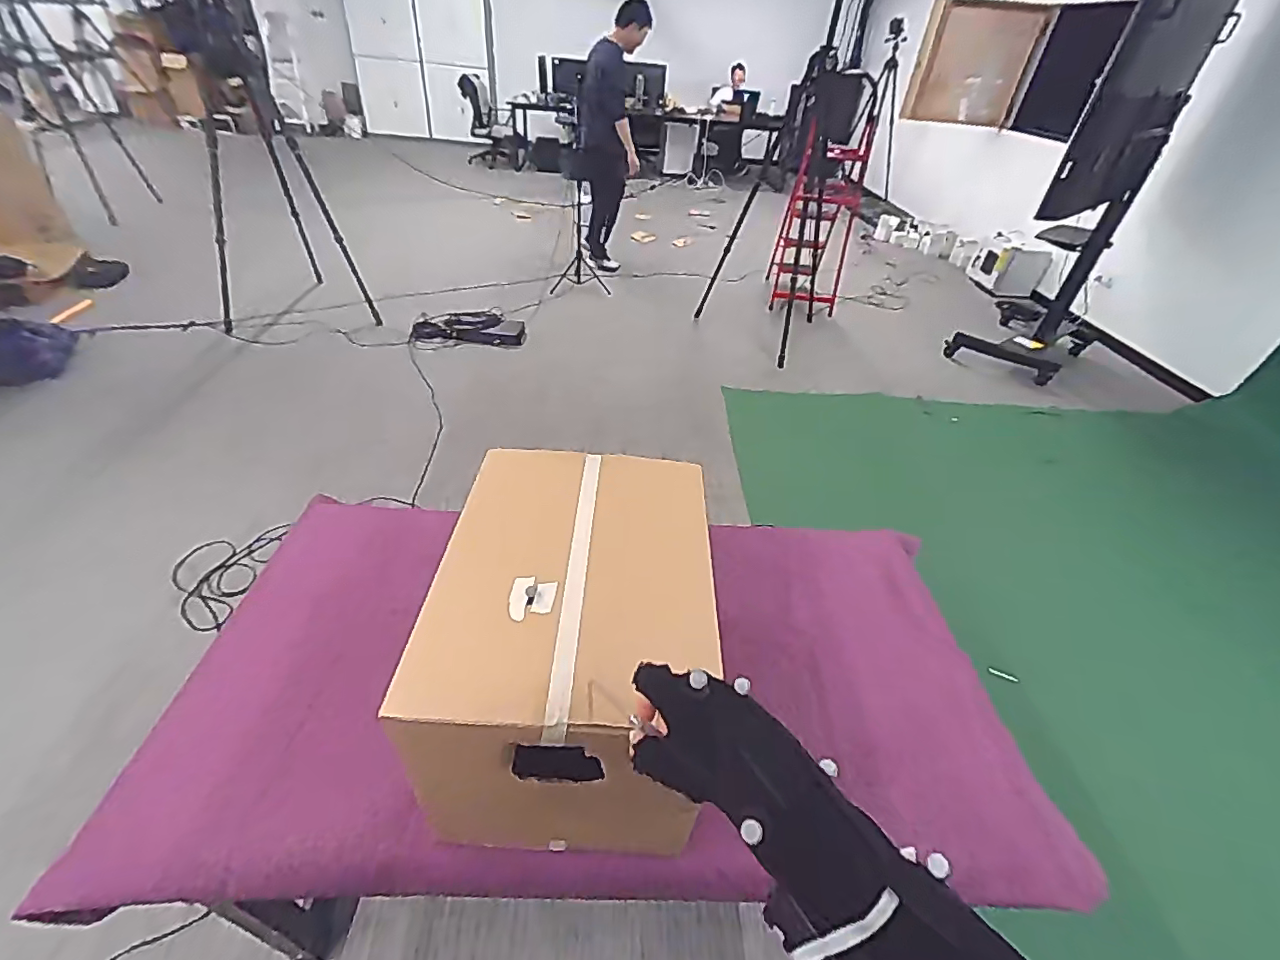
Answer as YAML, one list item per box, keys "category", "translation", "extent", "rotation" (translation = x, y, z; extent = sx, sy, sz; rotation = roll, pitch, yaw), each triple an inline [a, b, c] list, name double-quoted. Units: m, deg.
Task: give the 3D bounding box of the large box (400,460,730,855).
- category: "large box"
  translation: [-0.080, 0.223, 0.740]
  extent: [0.320, 0.320, 0.408]
  rotation: [5, 39, -2]
